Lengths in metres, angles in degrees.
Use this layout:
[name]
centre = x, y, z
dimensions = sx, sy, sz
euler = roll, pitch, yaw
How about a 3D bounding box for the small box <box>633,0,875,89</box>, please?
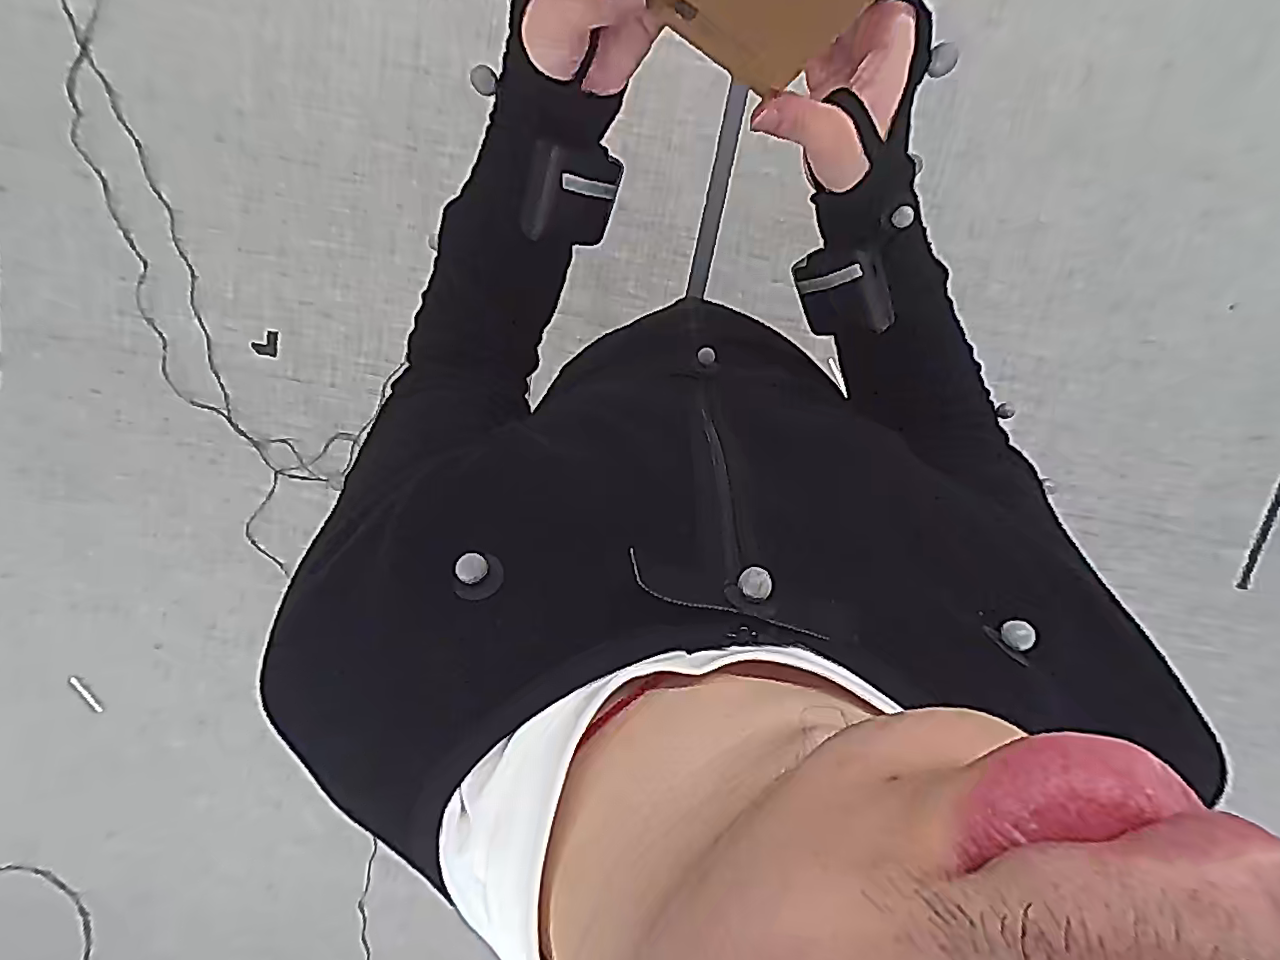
[small box]
centre = 0.052, -0.287, 0.180
dimensions = 0.168, 0.176, 0.179
euler = 26, 105, -14
